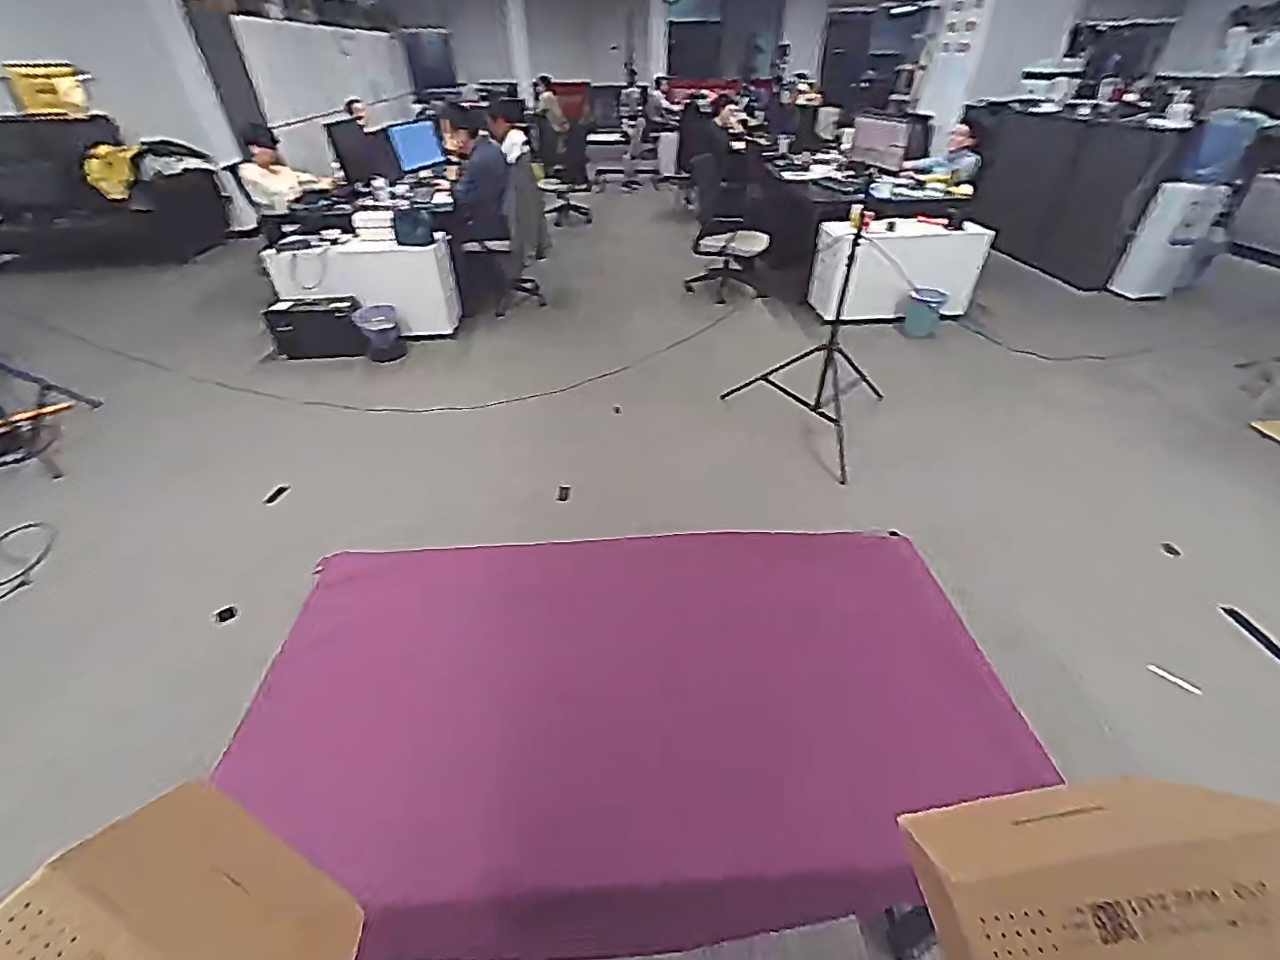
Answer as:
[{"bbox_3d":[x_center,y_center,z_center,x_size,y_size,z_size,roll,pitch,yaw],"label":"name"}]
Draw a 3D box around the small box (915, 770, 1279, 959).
[{"bbox_3d":[0.266,0.262,0.278,0.168,0.179,0.176,-17,63,11],"label":"small box"}]
